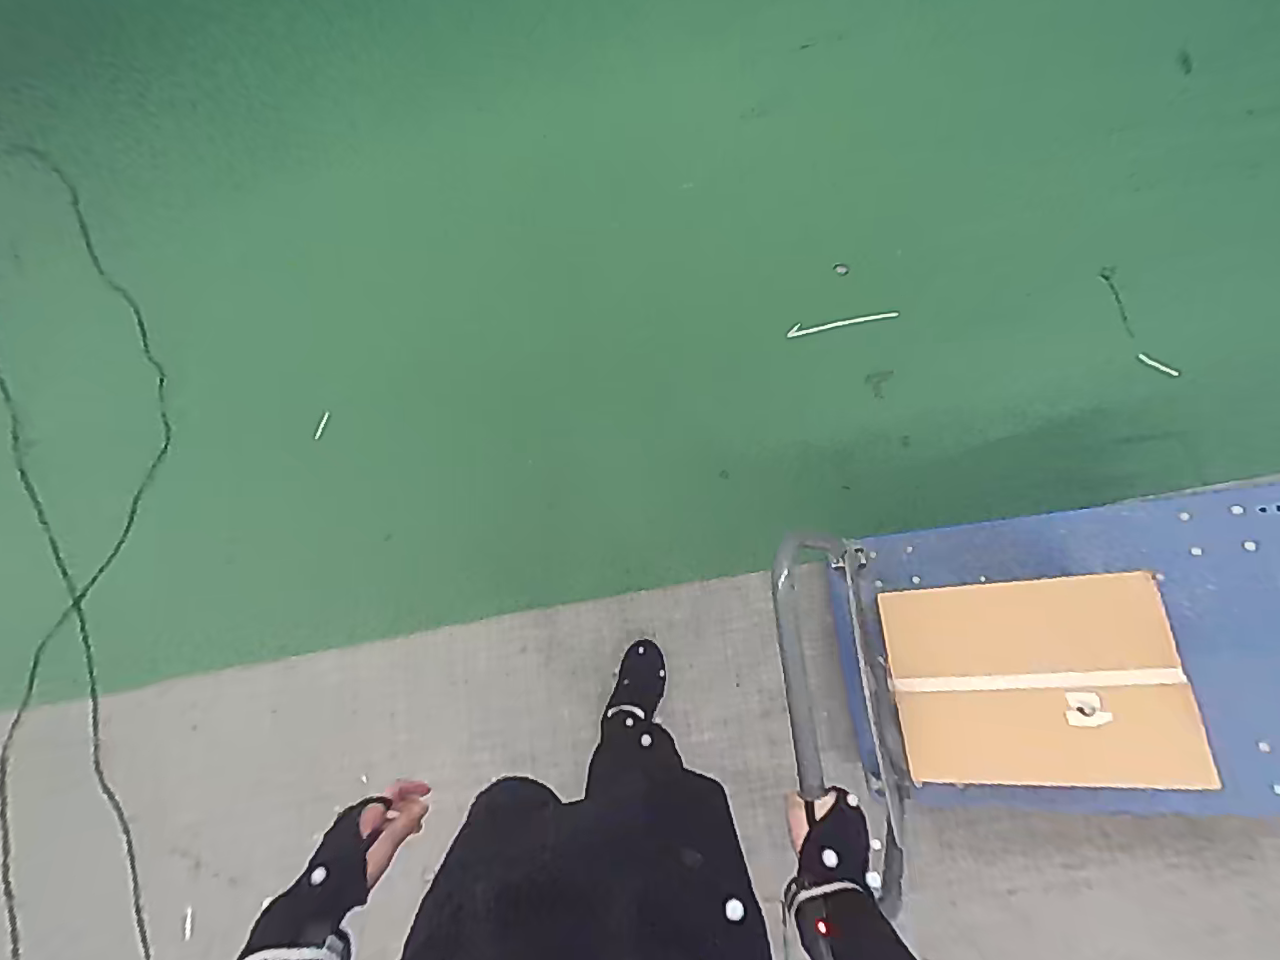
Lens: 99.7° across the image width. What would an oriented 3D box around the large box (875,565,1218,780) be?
[{"bbox_3d":[0.684,0.348,1.010,0.408,0.320,0.320,-10,75,20],"label":"large box"}]
